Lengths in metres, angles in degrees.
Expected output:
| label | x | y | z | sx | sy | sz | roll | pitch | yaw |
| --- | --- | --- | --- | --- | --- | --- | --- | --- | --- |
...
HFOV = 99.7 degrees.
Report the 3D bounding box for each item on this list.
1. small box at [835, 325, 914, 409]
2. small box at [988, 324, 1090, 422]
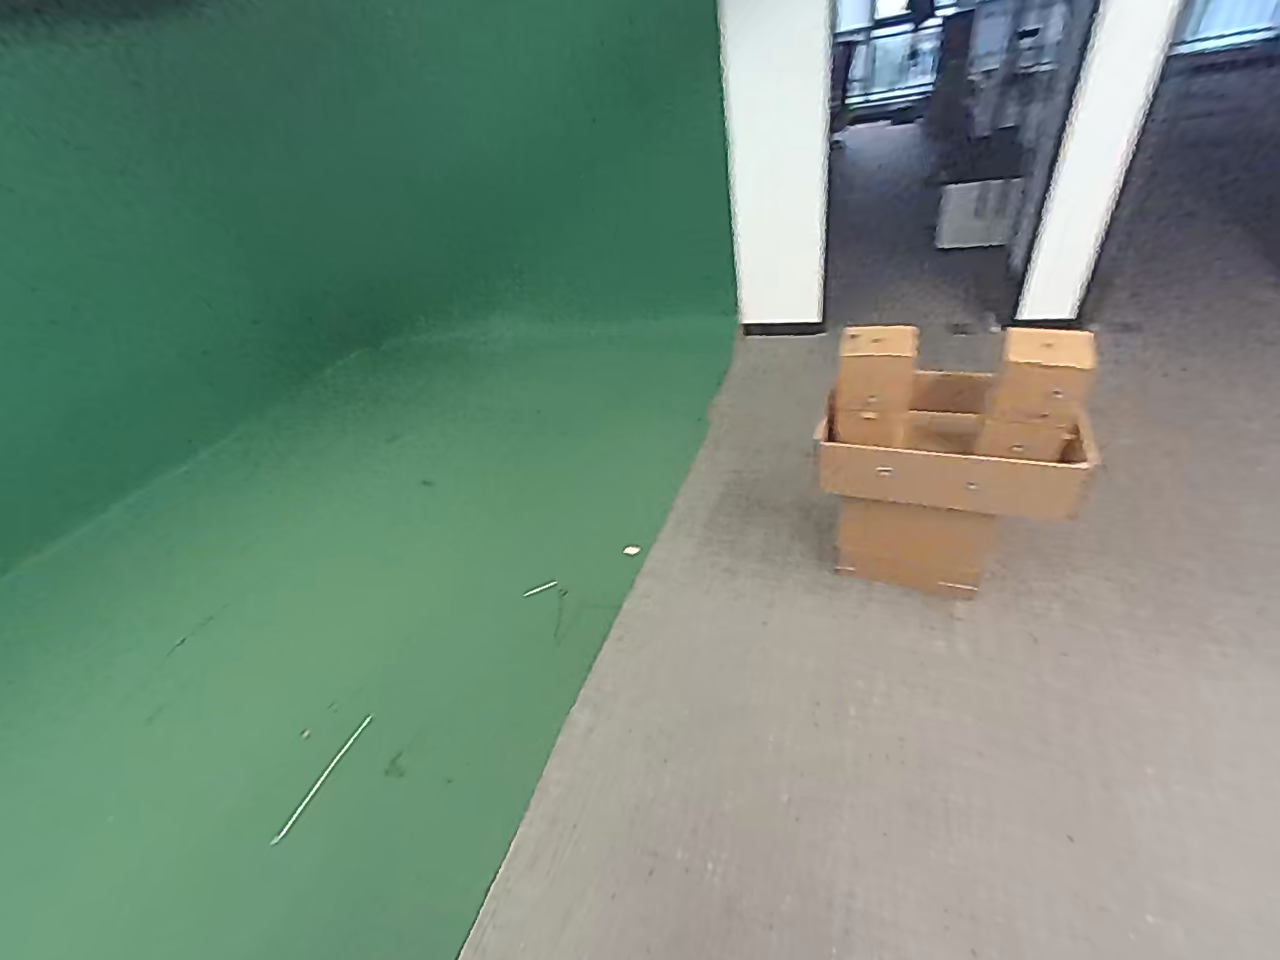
| label | x | y | z | sx | sy | sz | roll | pitch | yaw |
| --- | --- | --- | --- | --- | --- | --- | --- | --- | --- |
| small box | 0.636 | -0.307 | 1.470 | 0.179 | 0.176 | 0.168 | 6 | 42 | 23 |
| small box | 0.965 | -0.261 | 1.316 | 0.168 | 0.176 | 0.179 | 13 | 45 | 27 |
